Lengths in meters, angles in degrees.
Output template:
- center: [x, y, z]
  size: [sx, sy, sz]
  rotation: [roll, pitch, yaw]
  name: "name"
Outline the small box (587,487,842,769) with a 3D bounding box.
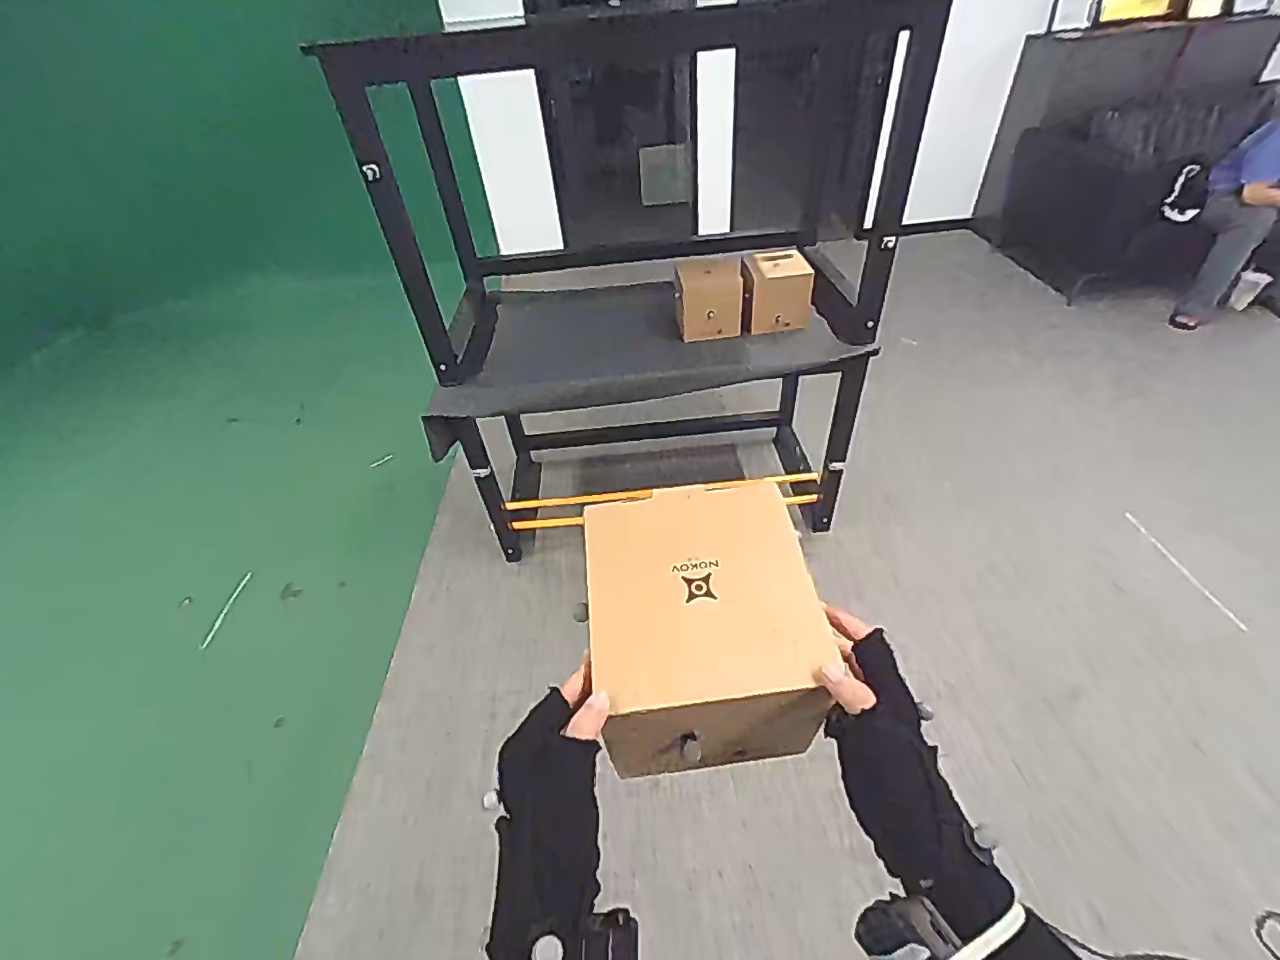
- center: [0.051, 0.133, 0.467]
  size: [0.168, 0.176, 0.179]
  rotation: [-8, 48, -2]
  name: "small box"
